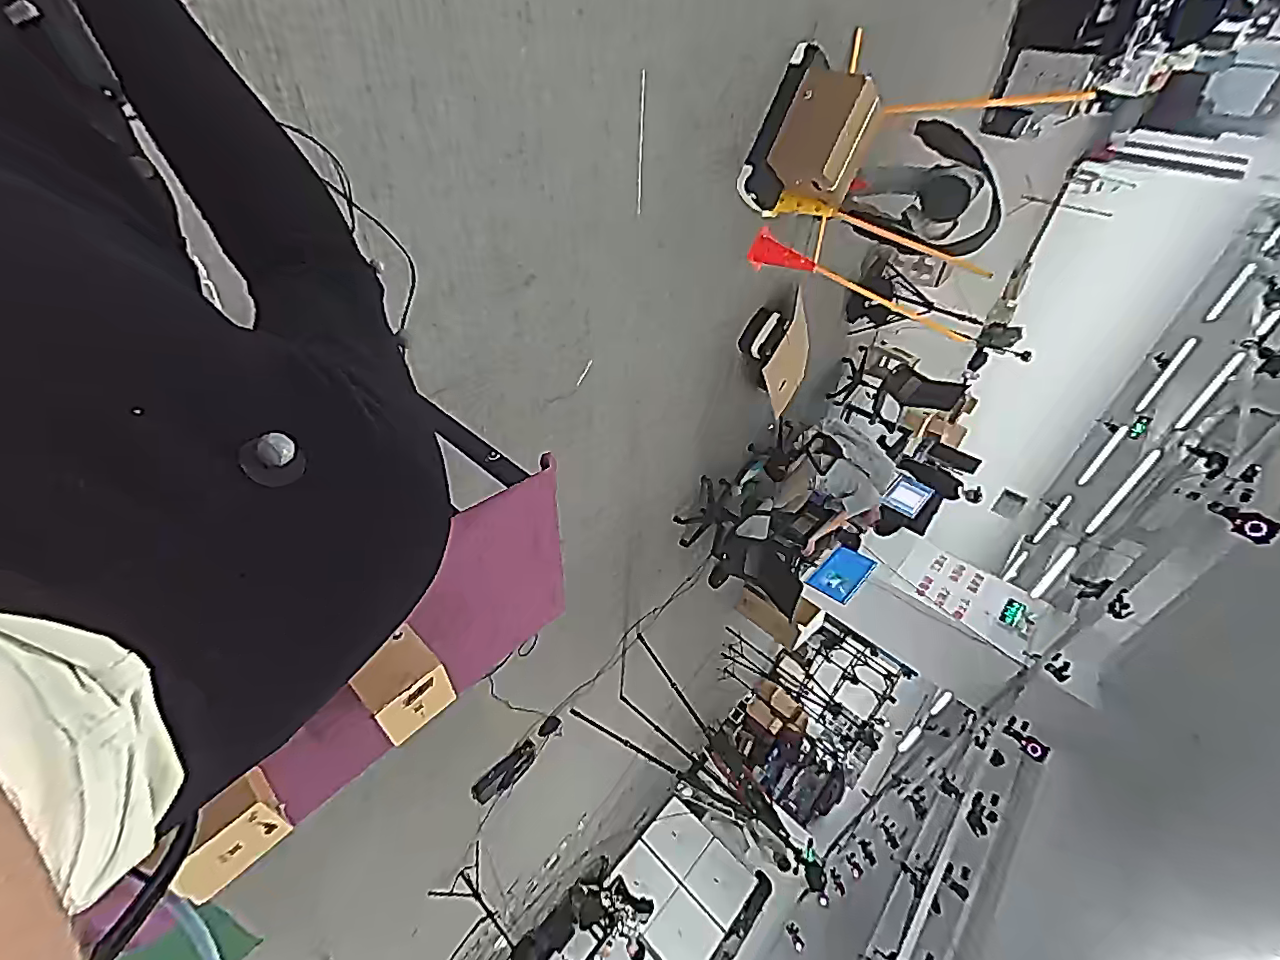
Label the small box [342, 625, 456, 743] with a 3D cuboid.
[{"bbox_3d":[-0.568,0.472,1.277,0.168,0.176,0.179,-36,146,-34],"label":"small box"}]

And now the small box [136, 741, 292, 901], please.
[{"bbox_3d":[-0.830,0.658,1.054,0.179,0.176,0.168,-35,145,-35],"label":"small box"}]
